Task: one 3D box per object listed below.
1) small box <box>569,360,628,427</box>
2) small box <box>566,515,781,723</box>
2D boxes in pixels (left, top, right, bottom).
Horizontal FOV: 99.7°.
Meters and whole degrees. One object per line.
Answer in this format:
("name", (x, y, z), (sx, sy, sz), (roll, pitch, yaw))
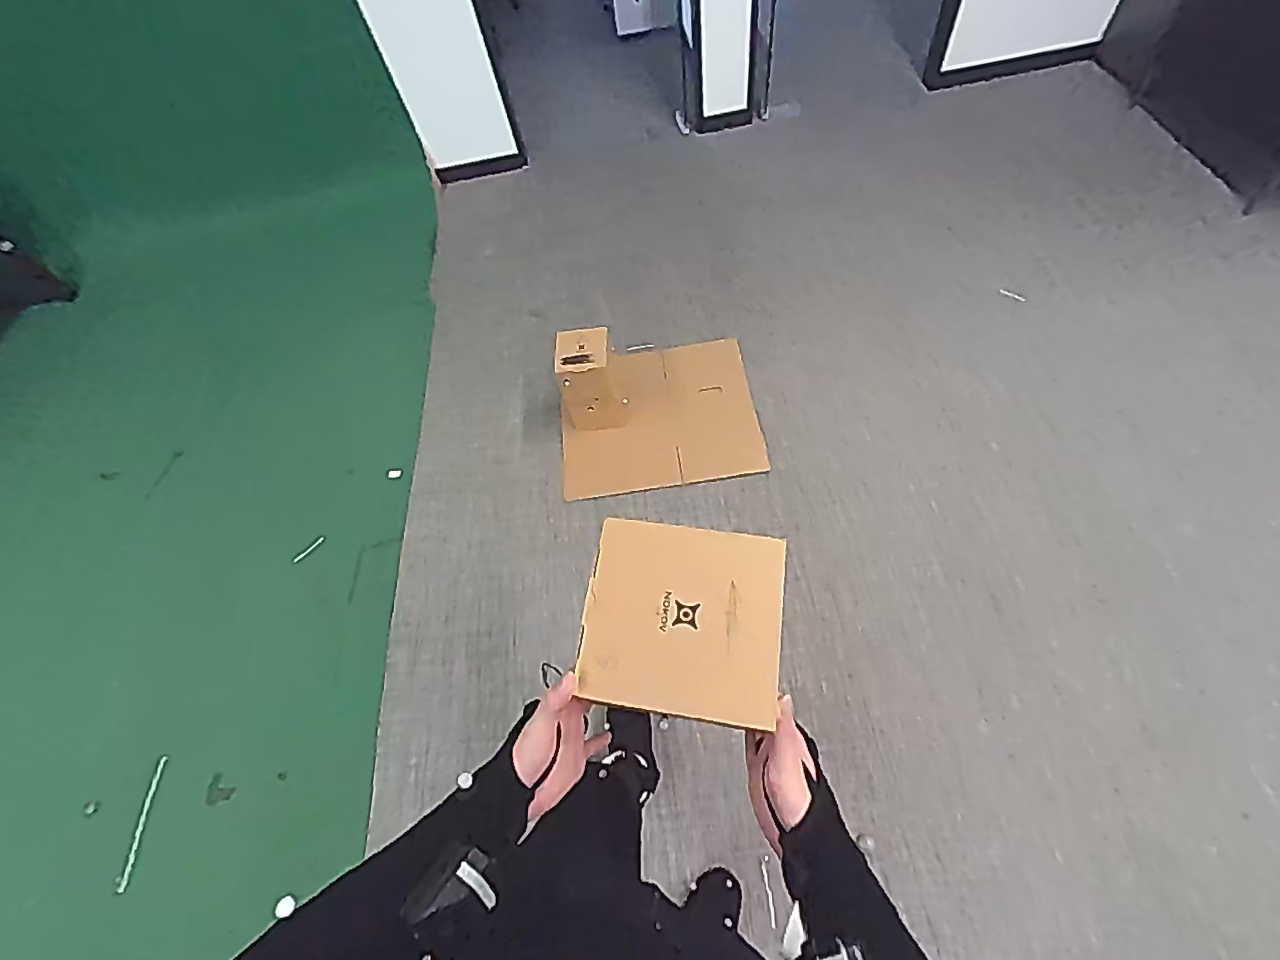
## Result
("small box", (-0.143, -0.301, 1.913), (0.179, 0.176, 0.168), (-5, 60, 6))
("small box", (0.041, 0.150, 0.559), (0.179, 0.176, 0.168), (7, 67, 9))
